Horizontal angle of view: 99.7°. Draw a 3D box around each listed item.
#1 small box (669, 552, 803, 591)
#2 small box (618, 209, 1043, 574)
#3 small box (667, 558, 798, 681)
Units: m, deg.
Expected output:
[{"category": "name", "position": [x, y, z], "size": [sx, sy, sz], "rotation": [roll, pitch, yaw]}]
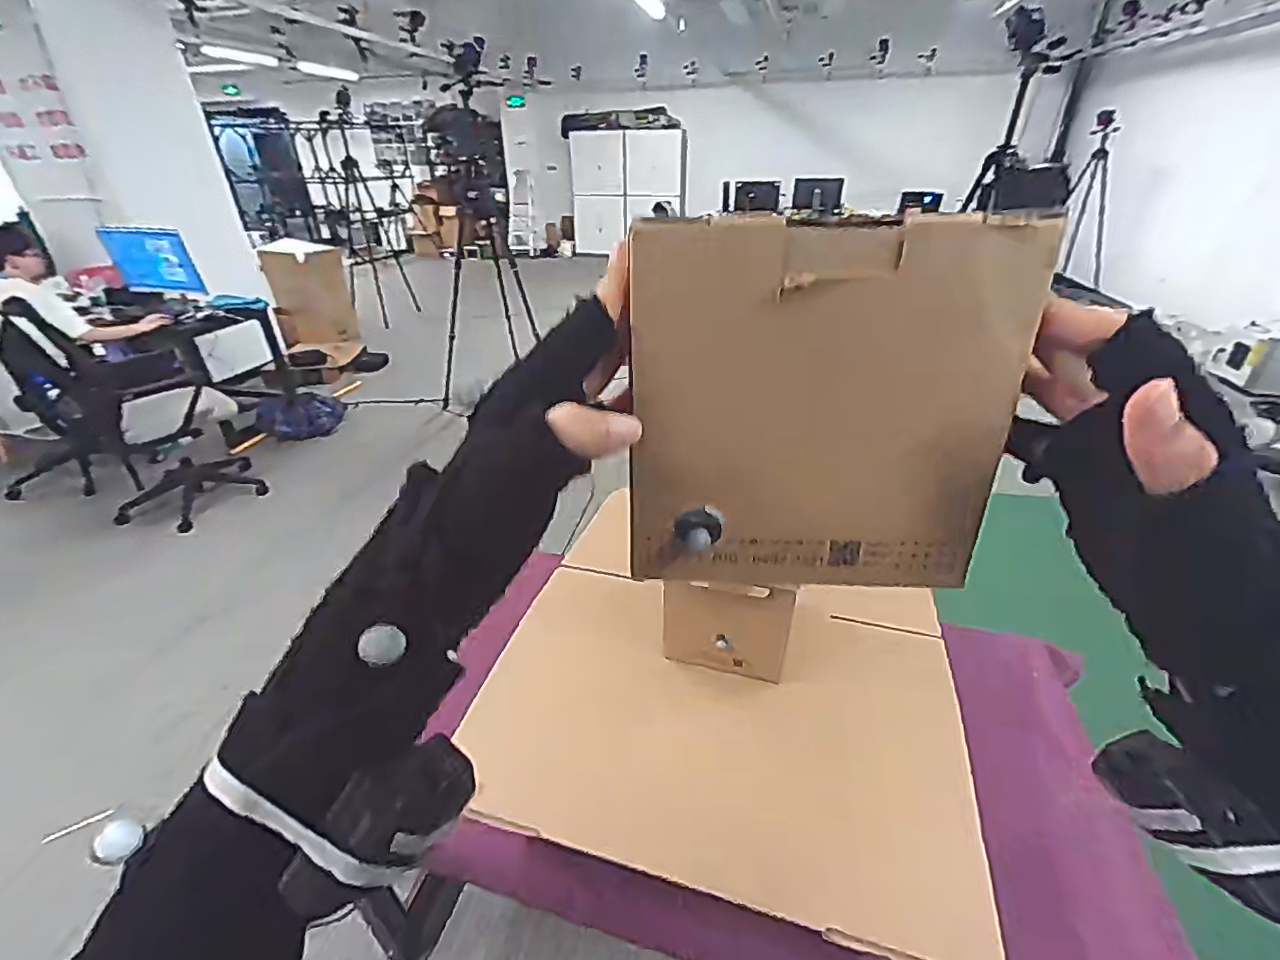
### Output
[{"category": "small box", "position": [0.131, 0.012, 0.686], "size": [0.168, 0.176, 0.179], "rotation": [7, 31, 13]}, {"category": "small box", "position": [0.080, -0.059, 0.316], "size": [0.168, 0.176, 0.179], "rotation": [1, 24, 3]}, {"category": "small box", "position": [0.136, 0.150, 0.773], "size": [0.168, 0.176, 0.179], "rotation": [8, 31, 16]}]
